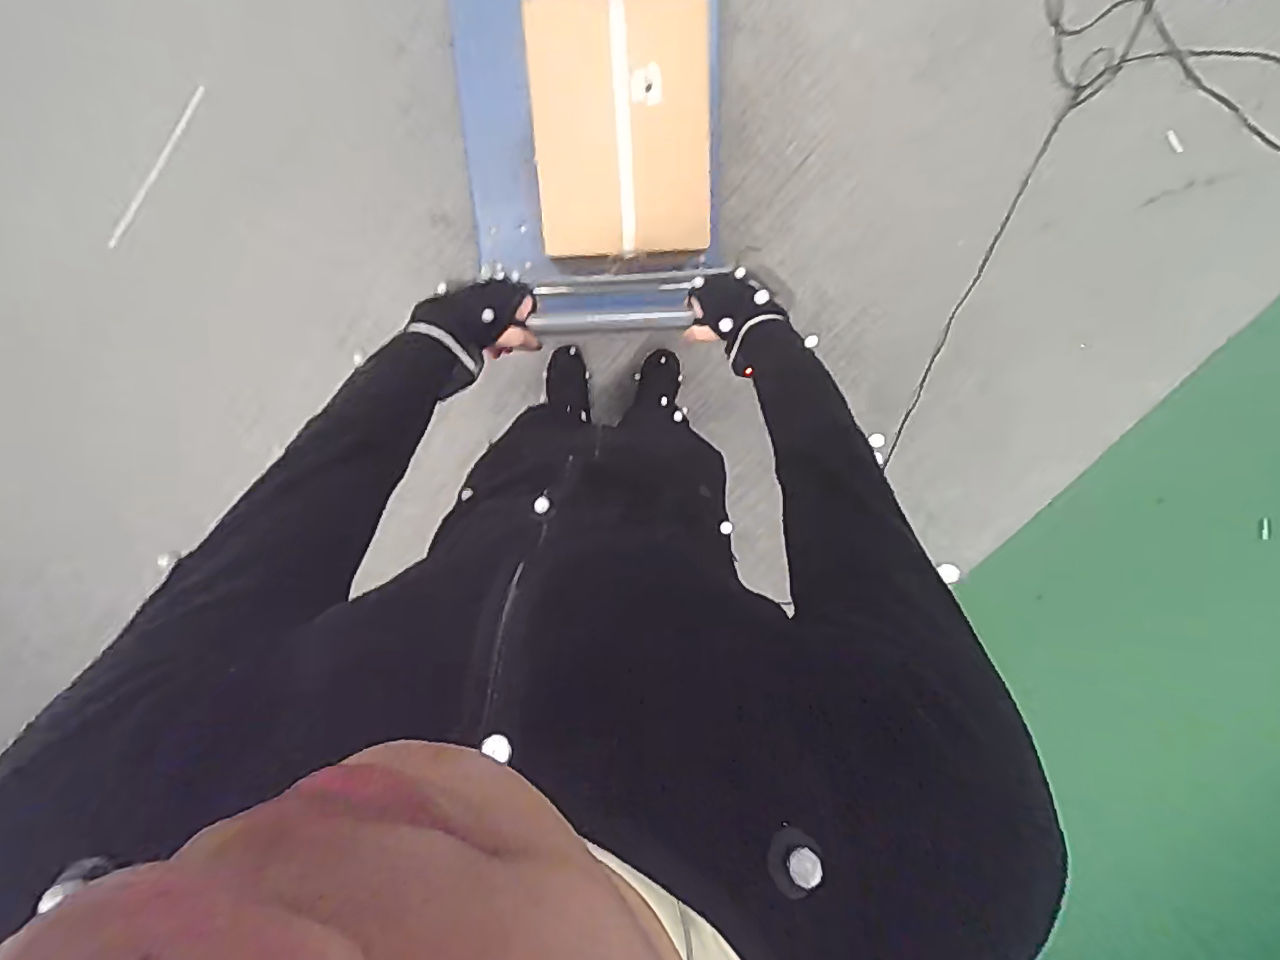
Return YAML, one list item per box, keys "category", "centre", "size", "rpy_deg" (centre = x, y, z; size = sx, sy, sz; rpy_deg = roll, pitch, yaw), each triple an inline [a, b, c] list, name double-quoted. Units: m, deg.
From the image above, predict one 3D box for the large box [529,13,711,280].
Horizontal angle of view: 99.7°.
- category: "large box"
  centre: [-0.036, -0.651, 1.131]
  size: [0.320, 0.320, 0.408]
  rpy_deg: [-4, 106, -4]
